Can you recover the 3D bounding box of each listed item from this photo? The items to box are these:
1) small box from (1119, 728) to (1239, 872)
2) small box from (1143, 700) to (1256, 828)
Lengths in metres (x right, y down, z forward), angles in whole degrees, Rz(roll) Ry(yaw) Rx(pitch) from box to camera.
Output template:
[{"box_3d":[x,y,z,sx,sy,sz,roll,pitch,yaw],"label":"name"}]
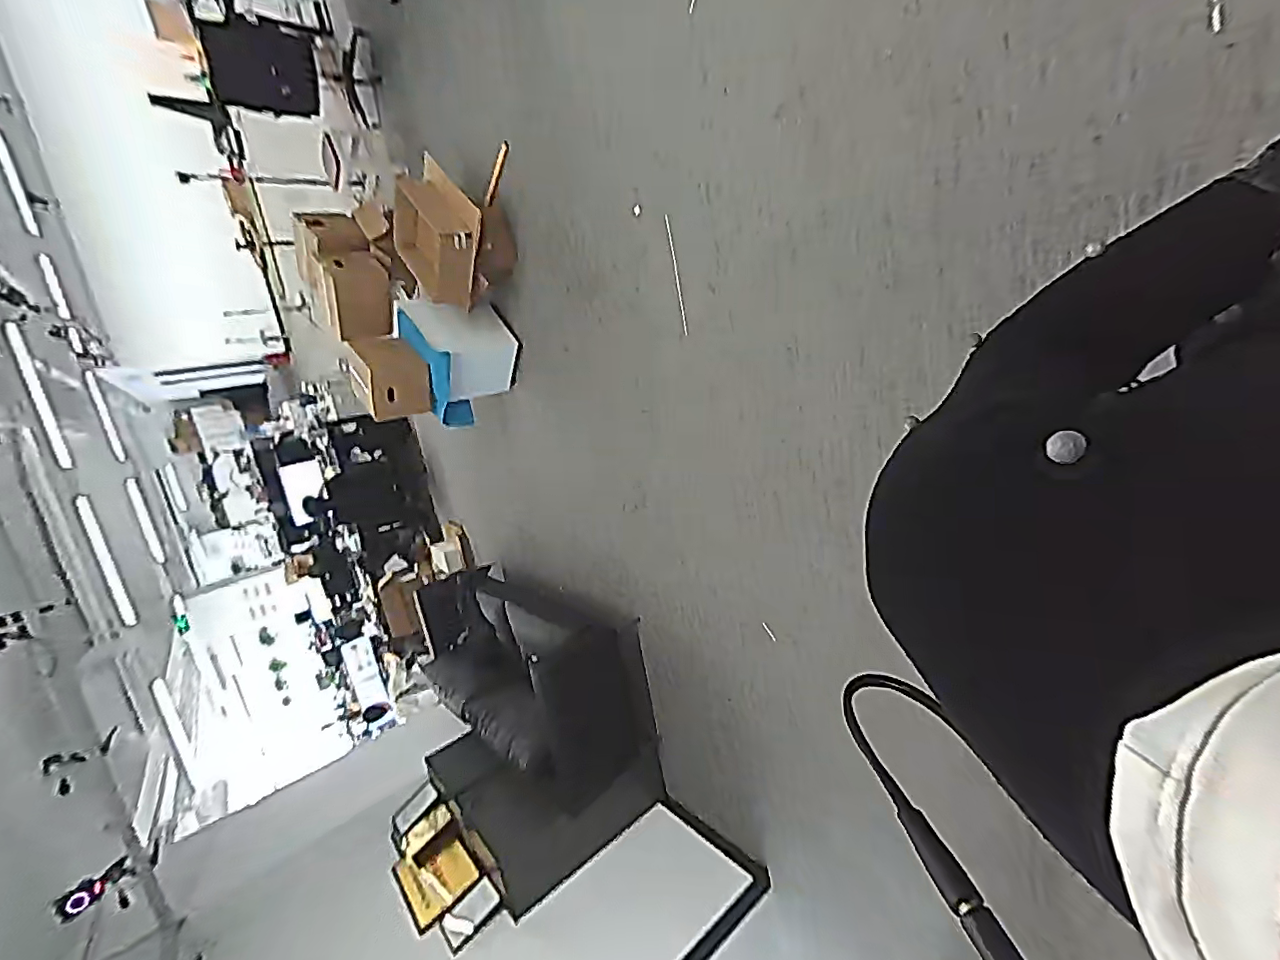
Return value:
[{"box_3d":[1.166,0.676,1.170,0.168,0.176,0.179,1,107,53],"label":"small box"},{"box_3d":[1.297,0.649,1.263,0.179,0.176,0.168,8,111,52],"label":"small box"}]
